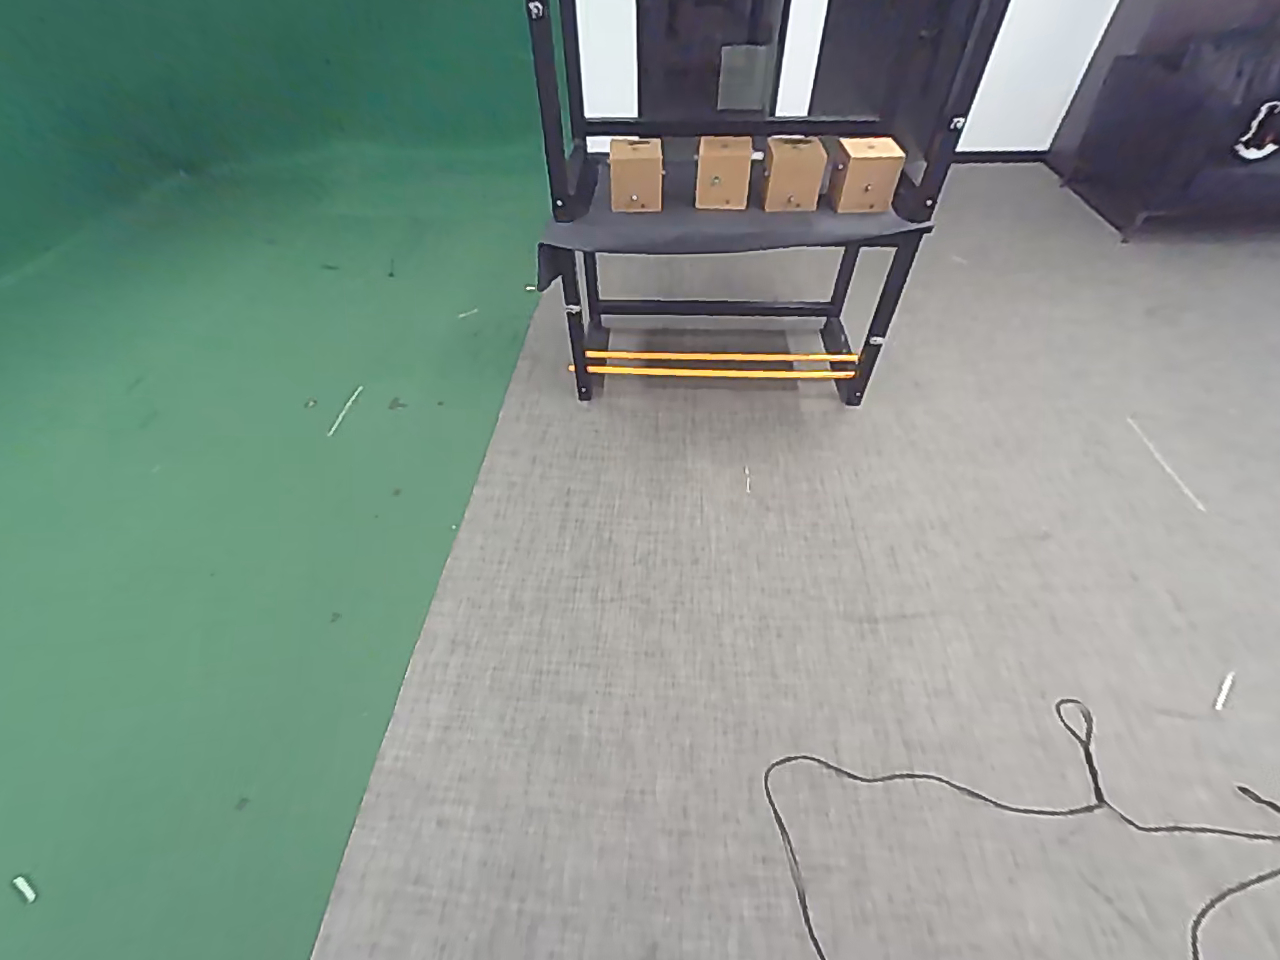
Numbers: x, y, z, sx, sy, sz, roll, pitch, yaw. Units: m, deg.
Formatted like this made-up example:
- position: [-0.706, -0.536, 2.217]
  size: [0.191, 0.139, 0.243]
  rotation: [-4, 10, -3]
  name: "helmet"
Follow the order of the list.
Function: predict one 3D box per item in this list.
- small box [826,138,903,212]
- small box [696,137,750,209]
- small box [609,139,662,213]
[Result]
- position: [0.718, -0.984, 1.749]
  size: [0.168, 0.176, 0.179]
  rotation: [0, 48, 1]
  name: "small box"
- position: [0.273, -1.016, 1.793]
  size: [0.168, 0.176, 0.179]
  rotation: [4, 48, 5]
  name: "small box"
- position: [-0.015, -1.005, 1.786]
  size: [0.168, 0.176, 0.179]
  rotation: [-1, 49, 0]
  name: "small box"
